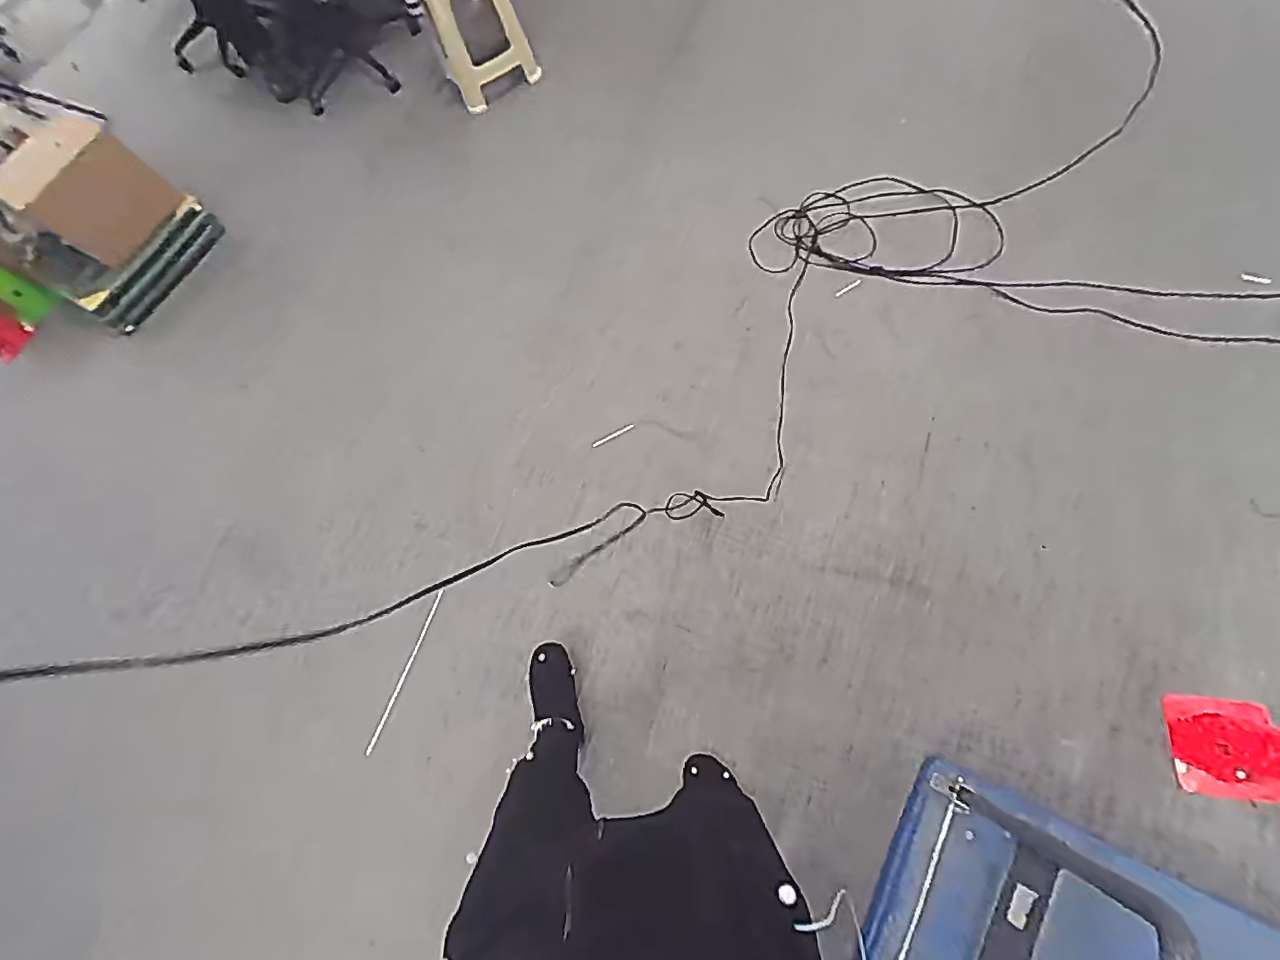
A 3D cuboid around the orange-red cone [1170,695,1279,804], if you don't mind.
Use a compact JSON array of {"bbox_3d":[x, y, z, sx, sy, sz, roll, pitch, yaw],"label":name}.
[{"bbox_3d":[1.258,0.527,1.022,0.198,0.360,0.199,4,71,11],"label":"orange-red cone"}]
